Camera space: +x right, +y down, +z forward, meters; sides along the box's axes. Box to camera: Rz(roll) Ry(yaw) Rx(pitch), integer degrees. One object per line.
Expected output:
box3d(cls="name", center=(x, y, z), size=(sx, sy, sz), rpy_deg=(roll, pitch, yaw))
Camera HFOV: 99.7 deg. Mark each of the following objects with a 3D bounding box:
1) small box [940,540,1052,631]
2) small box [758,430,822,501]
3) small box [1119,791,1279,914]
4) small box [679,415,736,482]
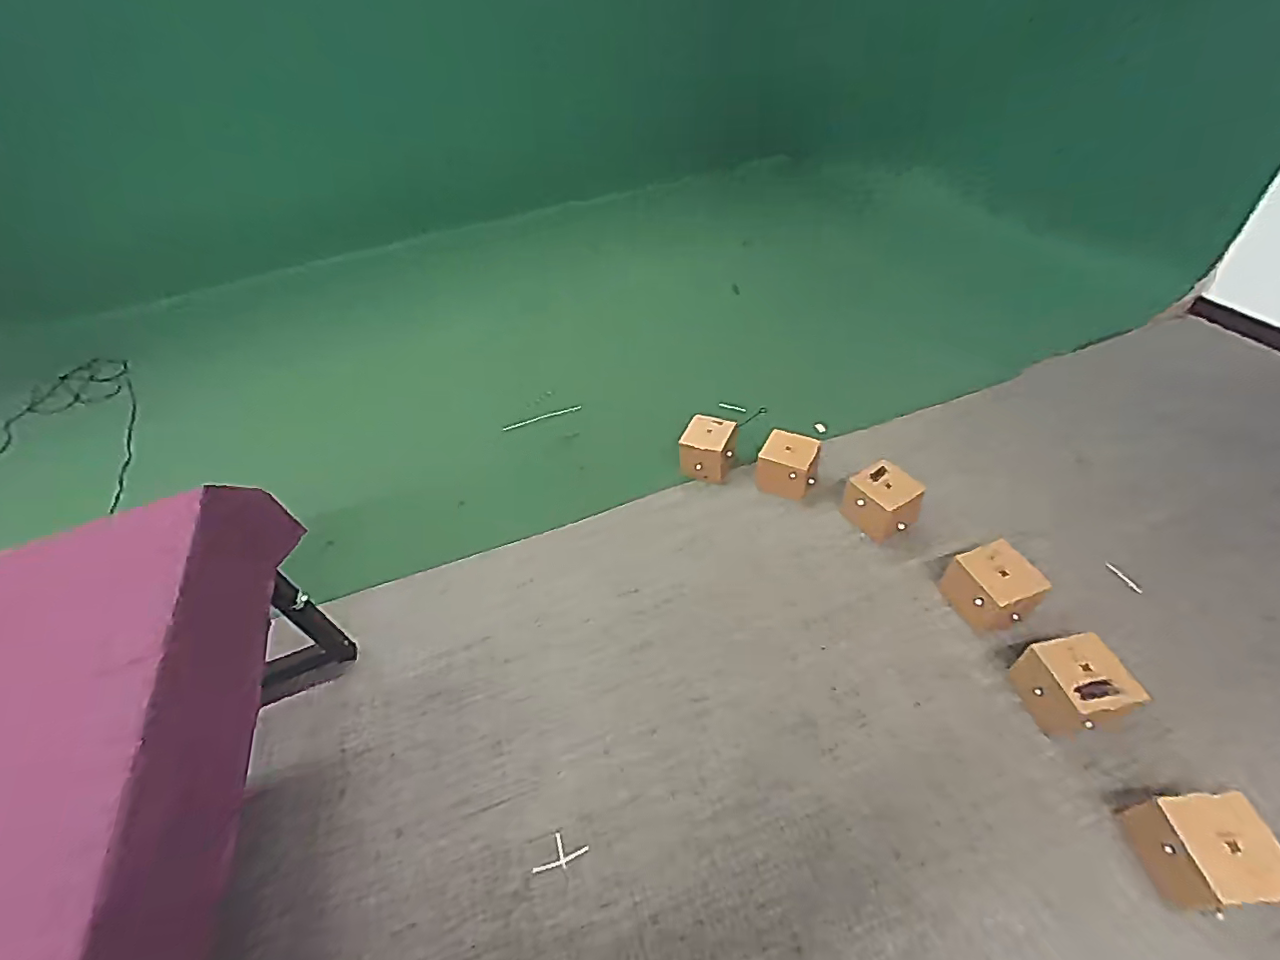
box3d(cls="small box", center=(0.991, 0.304, 1.523), size=(0.168, 0.176, 0.179), rpy_deg=(-17, 46, -8))
box3d(cls="small box", center=(0.534, -0.051, 1.944), size=(0.179, 0.176, 0.168), rpy_deg=(19, 52, 25))
box3d(cls="small box", center=(1.127, 0.745, 1.080), size=(0.168, 0.176, 0.179), rpy_deg=(-6, 46, 4))
box3d(cls="small box", center=(0.262, -0.117, 2.048), size=(0.168, 0.176, 0.179), rpy_deg=(15, 51, 22))
